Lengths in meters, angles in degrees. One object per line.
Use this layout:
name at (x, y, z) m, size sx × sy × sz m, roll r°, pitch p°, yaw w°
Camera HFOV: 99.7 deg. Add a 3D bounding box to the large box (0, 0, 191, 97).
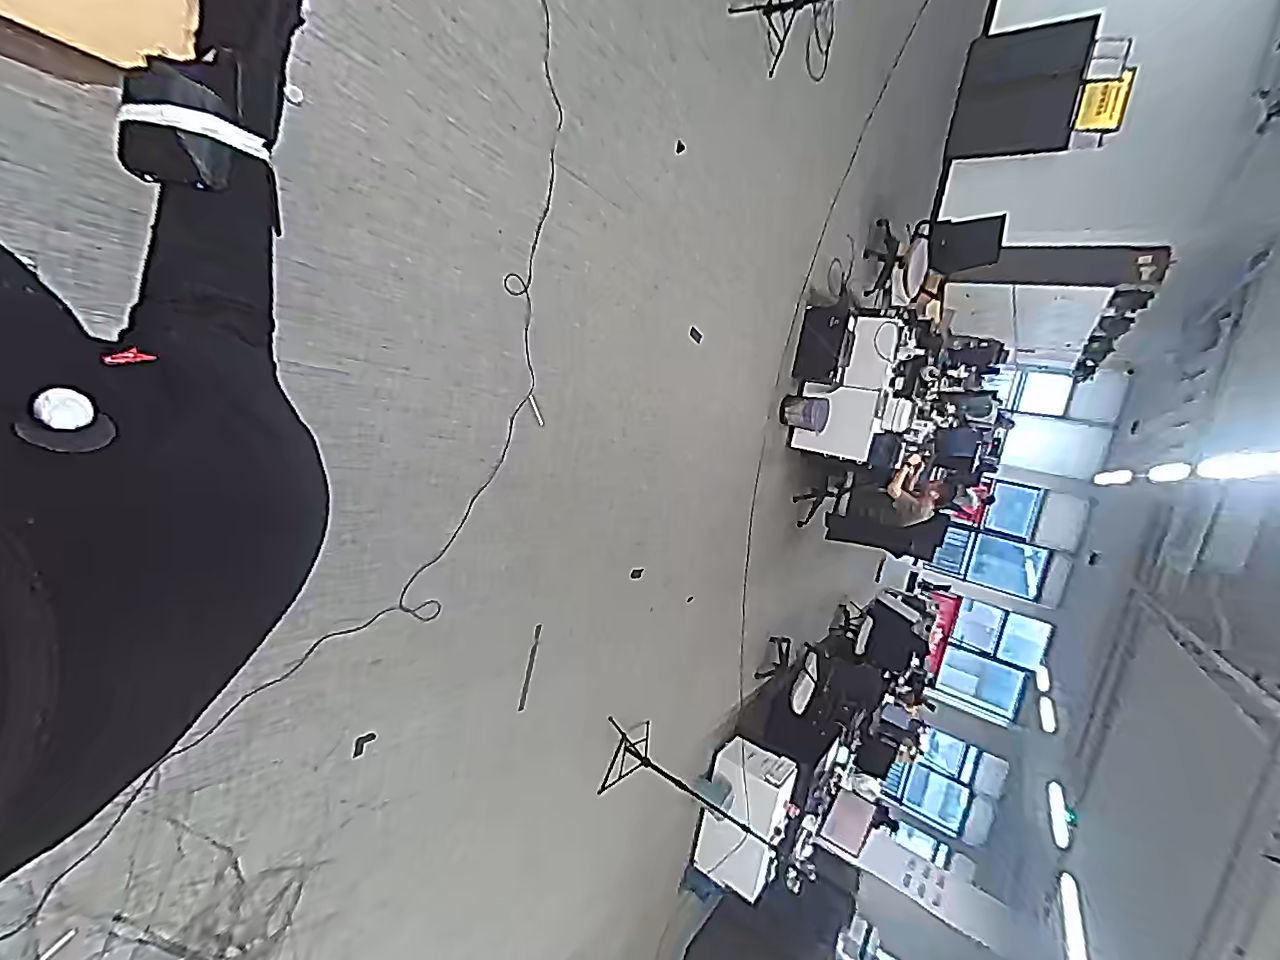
large box at (-0.506, -0.454, 0.253) m, size 0.408 × 0.320 × 0.320 m, roll -5°, pitch 119°, yaw -56°
